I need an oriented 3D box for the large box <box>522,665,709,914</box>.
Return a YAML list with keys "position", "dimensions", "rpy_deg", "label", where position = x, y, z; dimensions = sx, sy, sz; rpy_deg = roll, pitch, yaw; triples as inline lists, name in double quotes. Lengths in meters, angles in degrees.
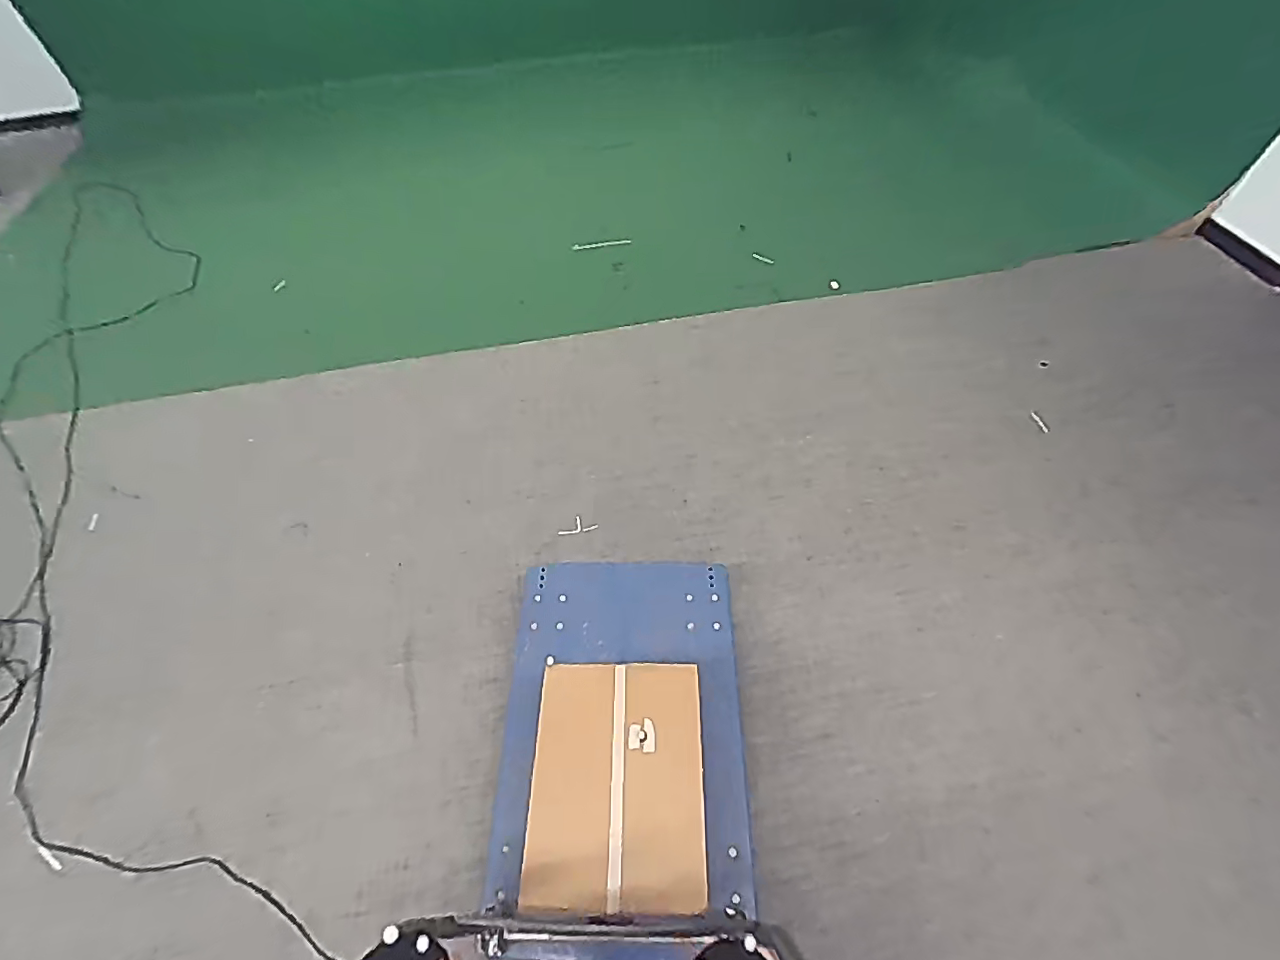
- position: [-0.034, 0.628, 1.111]
  dimensions: [0.320, 0.320, 0.408]
  rpy_deg: [0, 54, 2]
  label: "large box"
